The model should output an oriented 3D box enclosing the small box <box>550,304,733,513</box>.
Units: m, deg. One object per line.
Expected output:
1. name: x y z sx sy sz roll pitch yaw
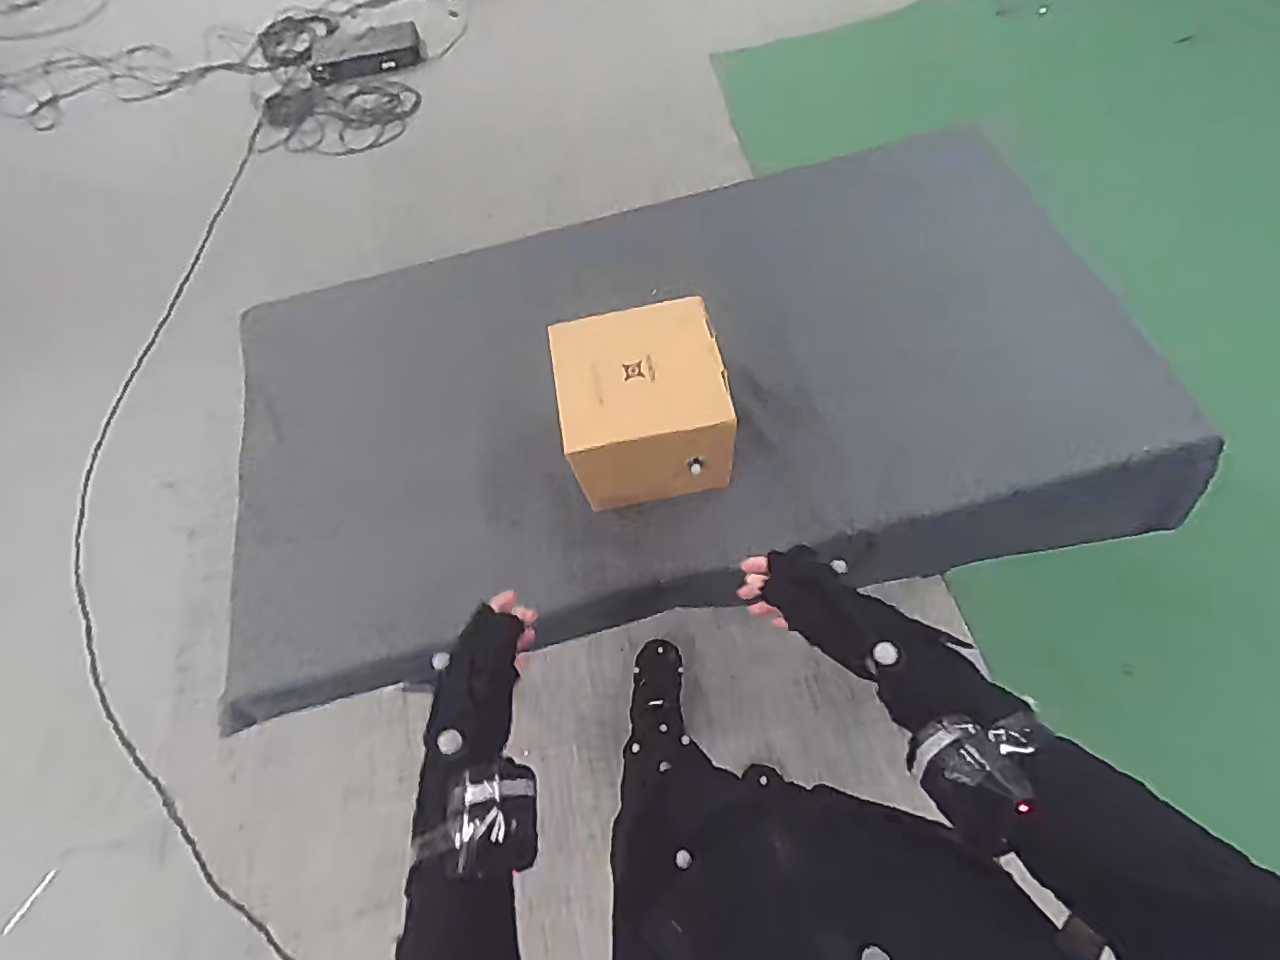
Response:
1. small box: 0.004 -0.076 0.649 0.179 0.176 0.168 -13 64 2
